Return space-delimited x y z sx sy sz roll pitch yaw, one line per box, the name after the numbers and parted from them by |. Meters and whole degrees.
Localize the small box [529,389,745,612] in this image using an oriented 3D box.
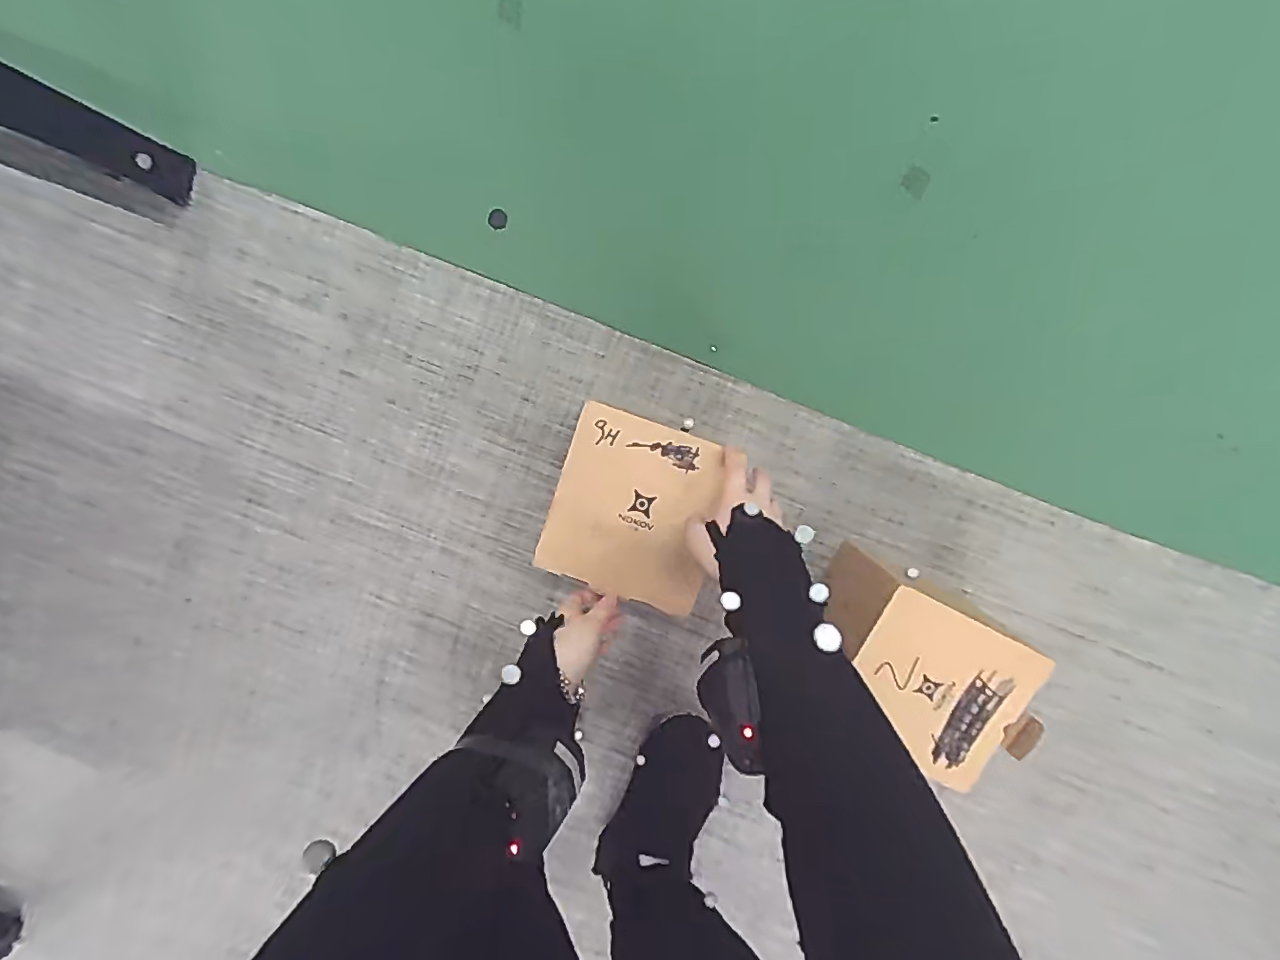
0.000 0.011 0.590 0.168 0.176 0.179 19 99 0 | small box
